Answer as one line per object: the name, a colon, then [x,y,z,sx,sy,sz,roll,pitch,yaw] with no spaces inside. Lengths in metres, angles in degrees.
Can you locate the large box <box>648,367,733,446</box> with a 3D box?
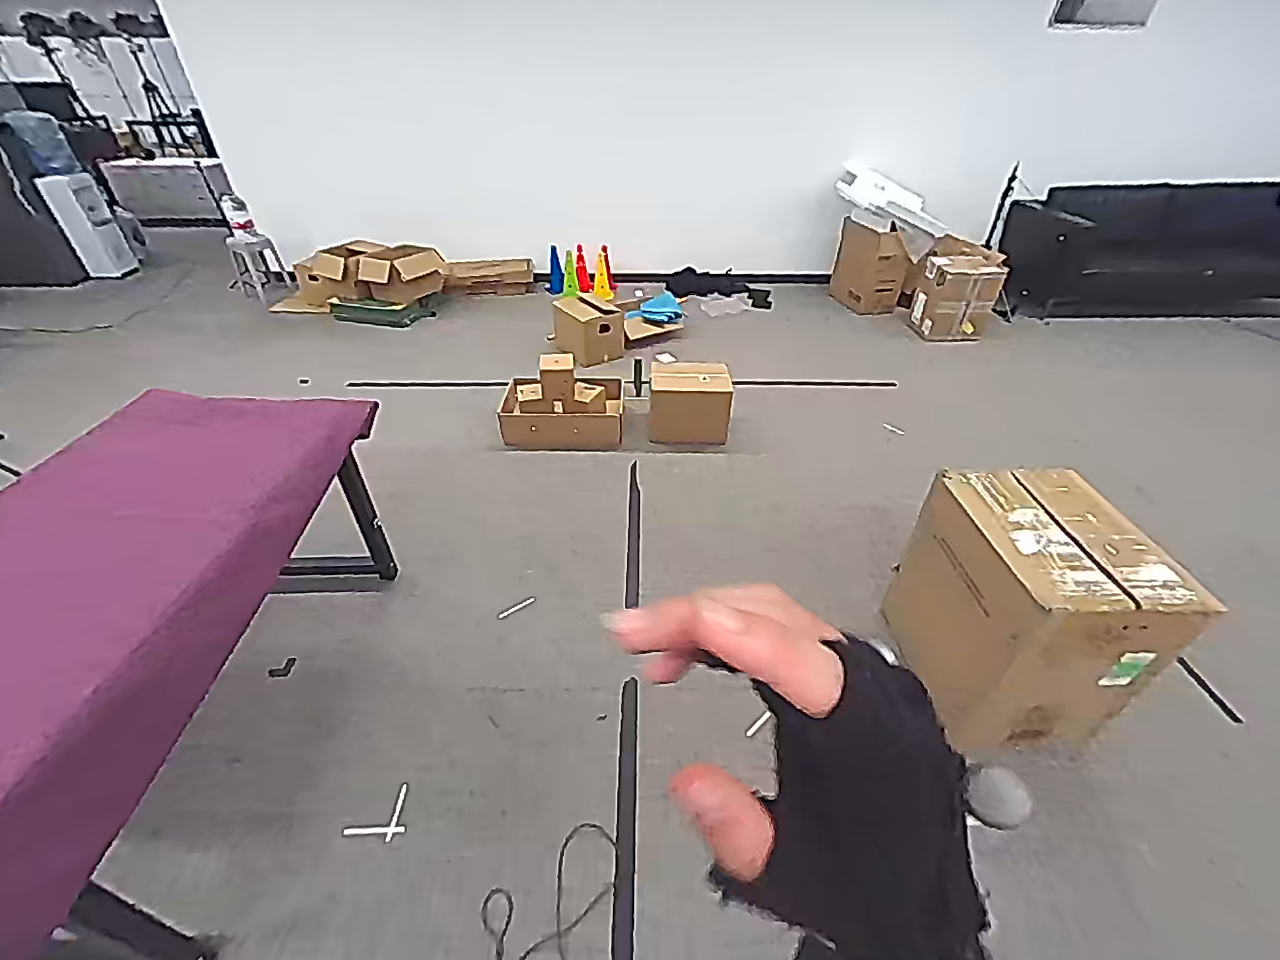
large box: [0.249,-0.387,2.827,0.408,0.320,0.320,1,38,-1]

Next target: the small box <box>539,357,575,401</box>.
small box: [-0.418,-0.507,2.733,0.168,0.176,0.179,-3,36,-7]
